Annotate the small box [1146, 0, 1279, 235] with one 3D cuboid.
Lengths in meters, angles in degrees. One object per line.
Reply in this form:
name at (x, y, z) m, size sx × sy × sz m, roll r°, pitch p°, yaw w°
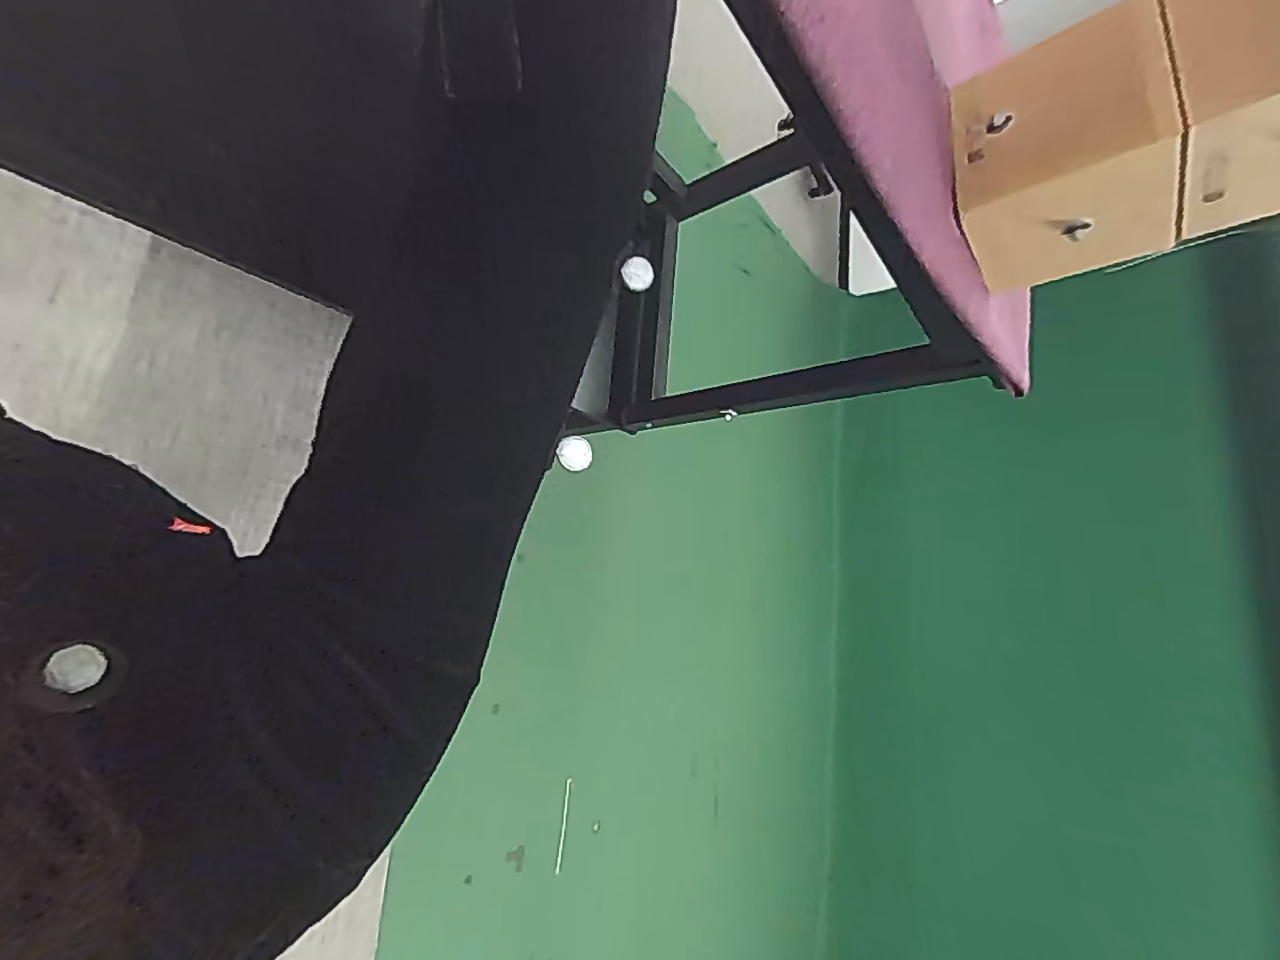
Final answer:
small box at (0.562, -0.350, 0.465) m, size 0.168 × 0.176 × 0.179 m, roll 20°, pitch 70°, yaw -46°
